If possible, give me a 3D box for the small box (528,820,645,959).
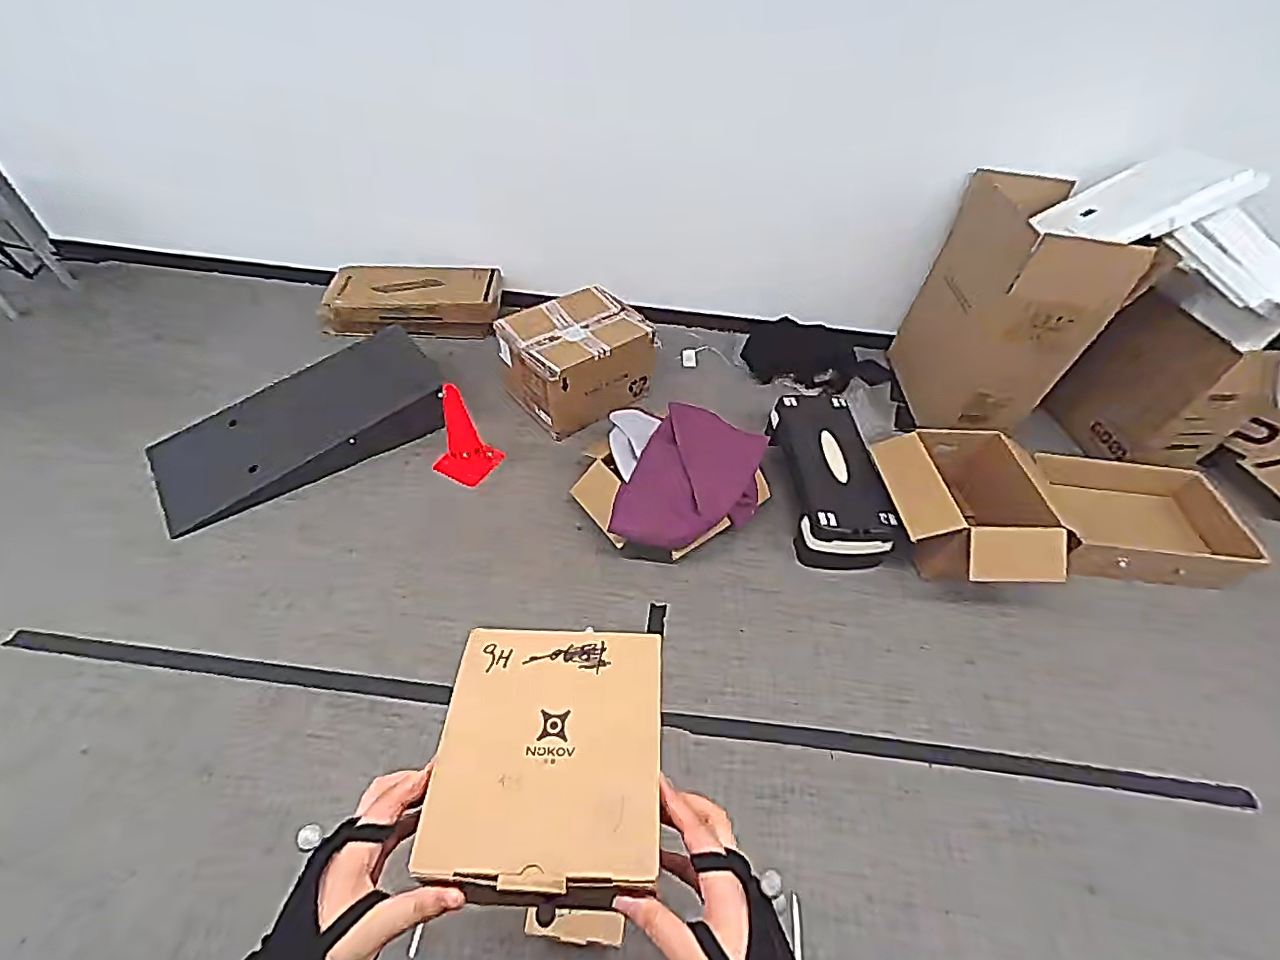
[{"bbox_3d":[-0.085,0.710,0.928,0.168,0.176,0.179,6,48,2],"label":"small box"}]
